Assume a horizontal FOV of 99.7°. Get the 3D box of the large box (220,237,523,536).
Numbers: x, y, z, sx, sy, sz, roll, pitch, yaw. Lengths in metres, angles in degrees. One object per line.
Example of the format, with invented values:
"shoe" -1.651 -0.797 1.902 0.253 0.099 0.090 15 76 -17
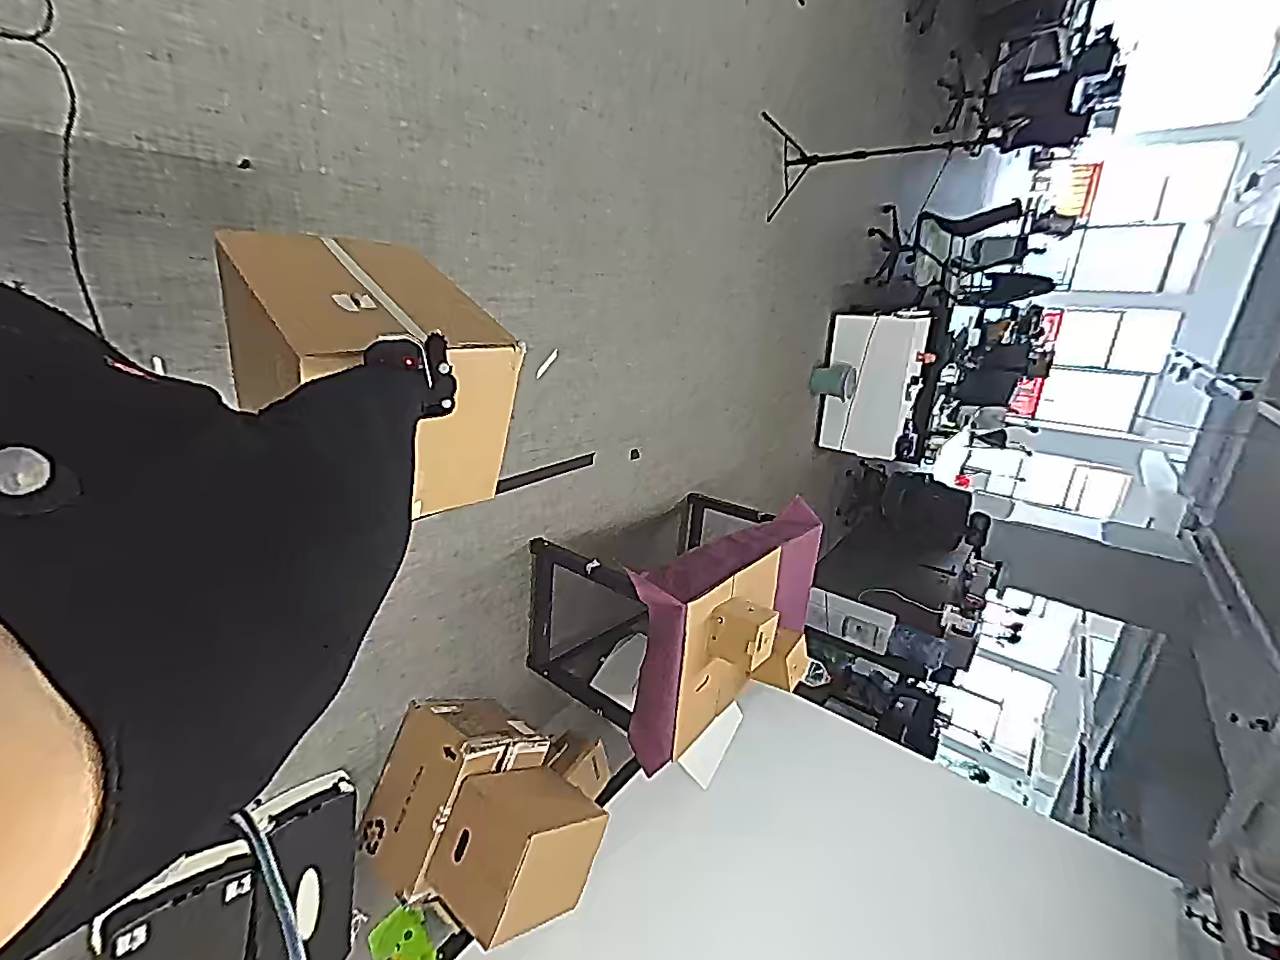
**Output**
"large box" -0.466 -0.174 0.933 0.320 0.408 0.320 -17 140 -42
